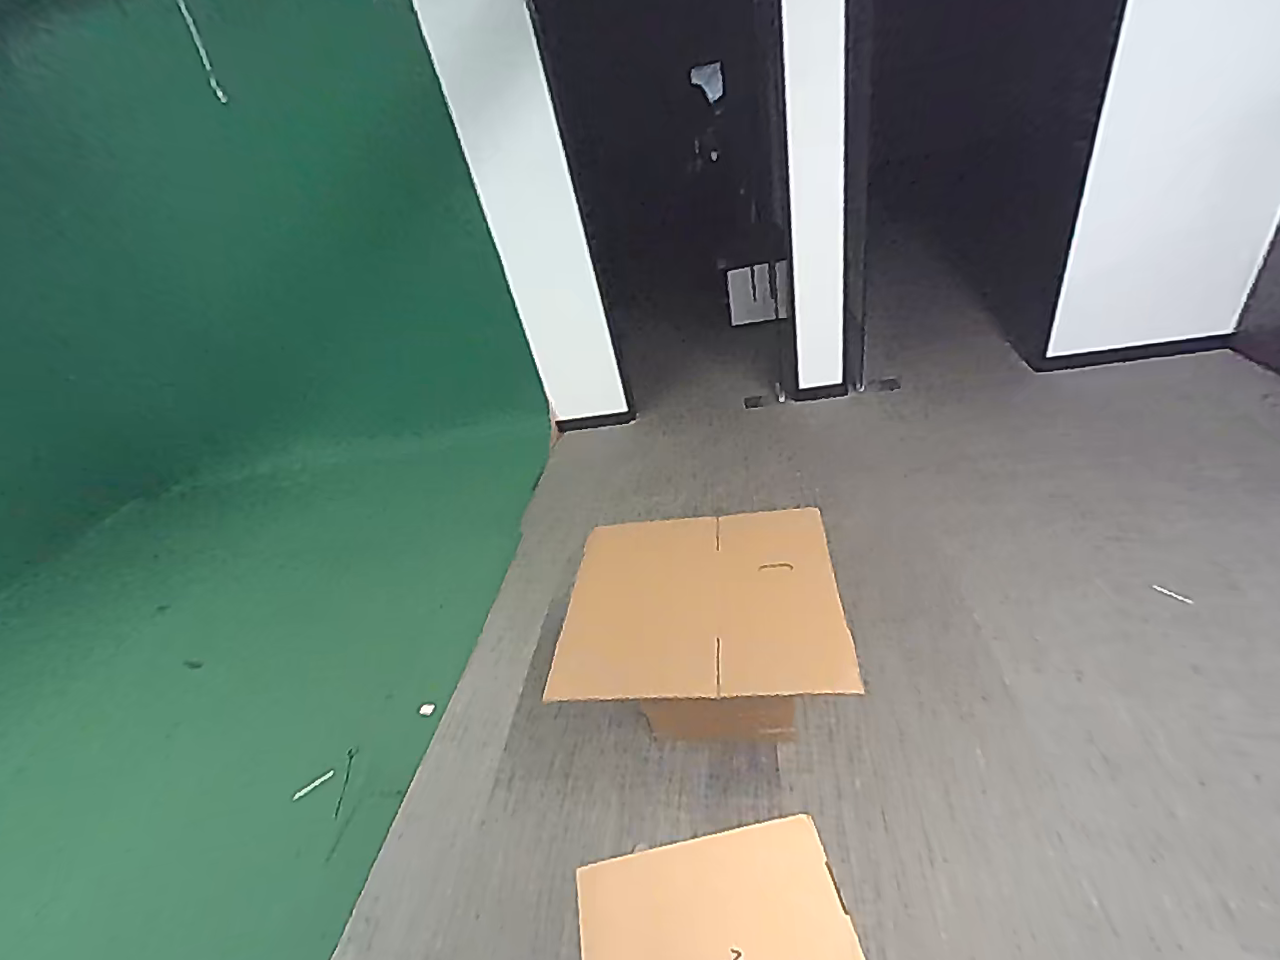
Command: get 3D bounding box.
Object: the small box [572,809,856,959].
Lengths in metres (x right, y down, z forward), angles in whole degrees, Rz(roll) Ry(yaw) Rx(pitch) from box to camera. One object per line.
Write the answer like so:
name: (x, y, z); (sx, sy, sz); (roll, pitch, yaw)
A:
small box: (0.057, 0.367, 0.381); (0.179, 0.176, 0.168); (-11, 40, -3)
